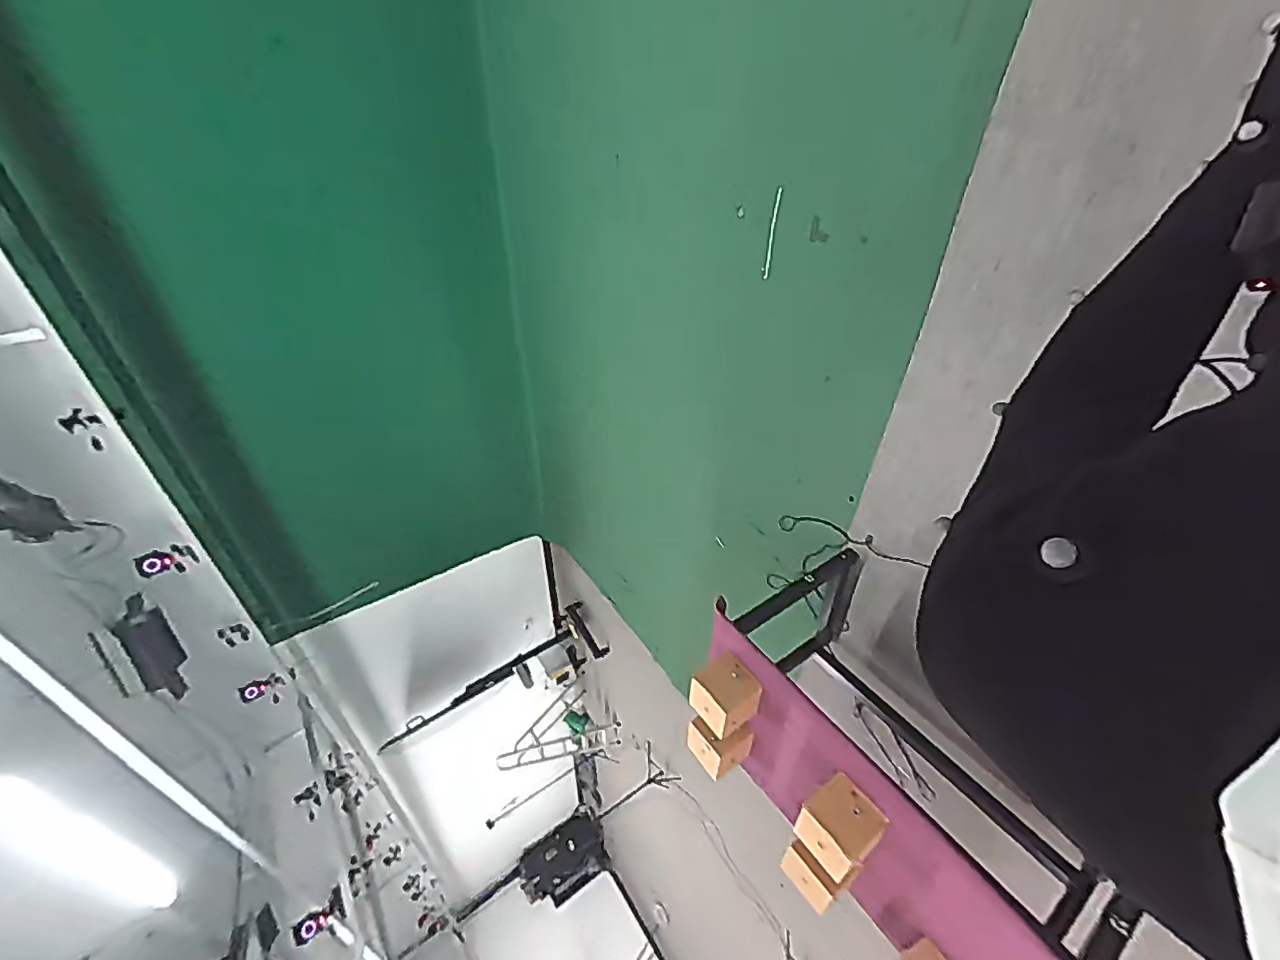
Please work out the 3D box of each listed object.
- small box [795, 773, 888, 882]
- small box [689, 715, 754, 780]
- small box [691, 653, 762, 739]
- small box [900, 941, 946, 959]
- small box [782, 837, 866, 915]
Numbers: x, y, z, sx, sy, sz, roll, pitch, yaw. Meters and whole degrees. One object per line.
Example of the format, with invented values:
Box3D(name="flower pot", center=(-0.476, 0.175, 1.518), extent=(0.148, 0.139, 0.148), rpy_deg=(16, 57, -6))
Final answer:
Box3D(name="small box", center=(0.569, 0.977, 1.528), extent=(0.168, 0.176, 0.179), rpy_deg=(41, 143, 41))
Box3D(name="small box", center=(0.299, 0.949, 1.982), extent=(0.168, 0.176, 0.179), rpy_deg=(40, 142, 40))
Box3D(name="small box", center=(0.291, 0.723, 1.821), extent=(0.168, 0.176, 0.179), rpy_deg=(40, 143, 38))
Box3D(name="small box", center=(0.778, 1.408, 1.467), extent=(0.168, 0.176, 0.179), rpy_deg=(44, 143, 39))
Box3D(name="small box", center=(0.572, 1.194, 1.685), extent=(0.168, 0.176, 0.179), rpy_deg=(41, 142, 40))
